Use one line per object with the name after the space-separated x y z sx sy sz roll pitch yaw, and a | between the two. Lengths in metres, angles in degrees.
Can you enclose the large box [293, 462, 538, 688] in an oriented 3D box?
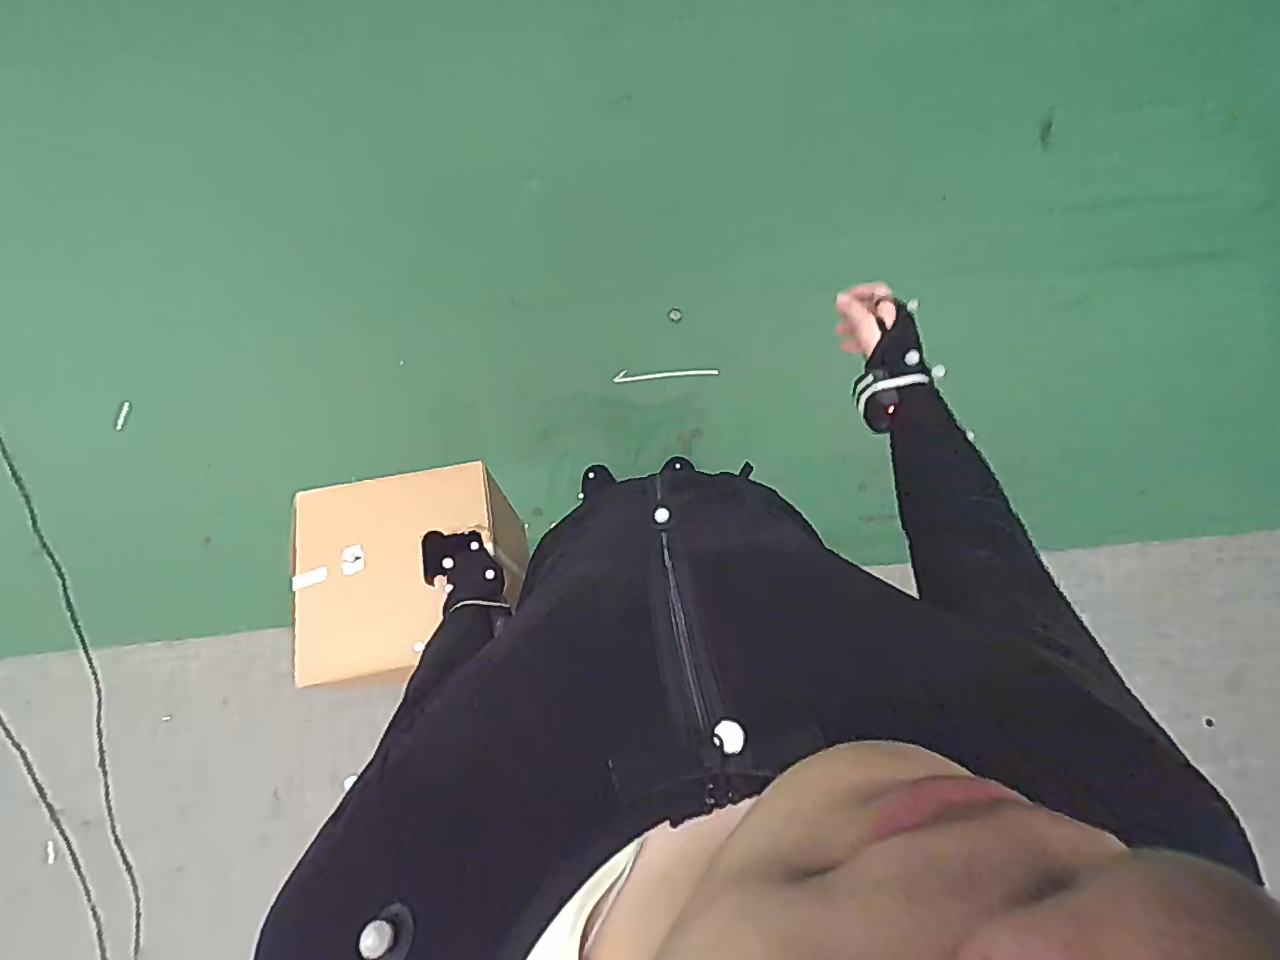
-0.398 0.199 1.039 0.320 0.408 0.320 -10 71 -6 | large box
